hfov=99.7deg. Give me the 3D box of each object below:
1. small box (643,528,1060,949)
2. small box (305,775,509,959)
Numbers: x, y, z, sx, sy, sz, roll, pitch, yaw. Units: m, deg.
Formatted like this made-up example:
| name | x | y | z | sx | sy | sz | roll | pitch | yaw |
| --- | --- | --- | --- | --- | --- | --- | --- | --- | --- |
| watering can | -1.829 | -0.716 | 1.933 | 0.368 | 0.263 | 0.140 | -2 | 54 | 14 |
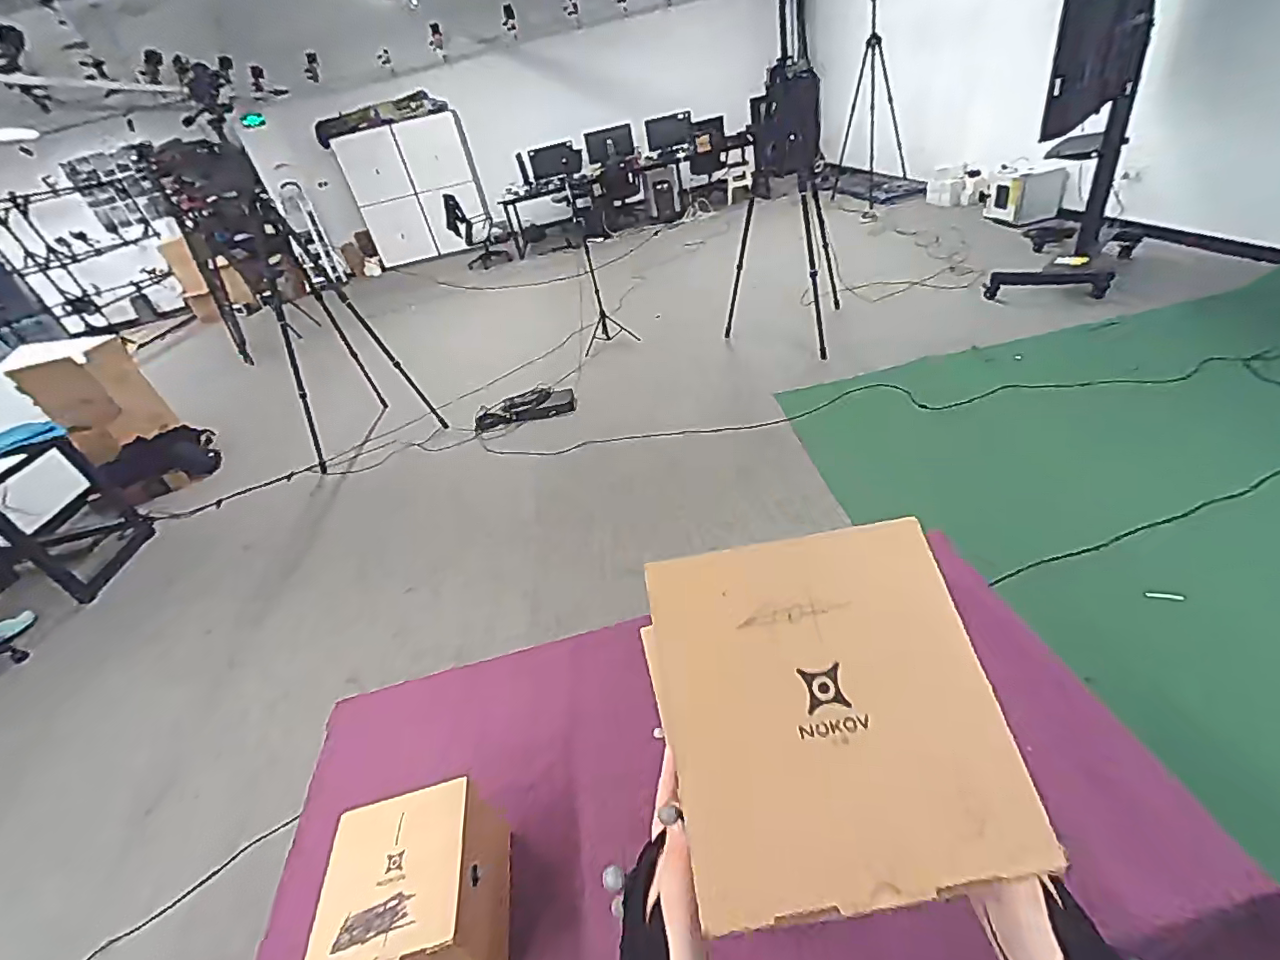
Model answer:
| name | x | y | z | sx | sy | sz | roll | pitch | yaw |
| --- | --- | --- | --- | --- | --- | --- | --- | --- | --- |
| small box | 0.099 | 0.151 | 0.344 | 0.168 | 0.176 | 0.179 | -9 | 63 | 0 |
| small box | -0.268 | 0.510 | 0.668 | 0.168 | 0.176 | 0.179 | -16 | 34 | -2 |
